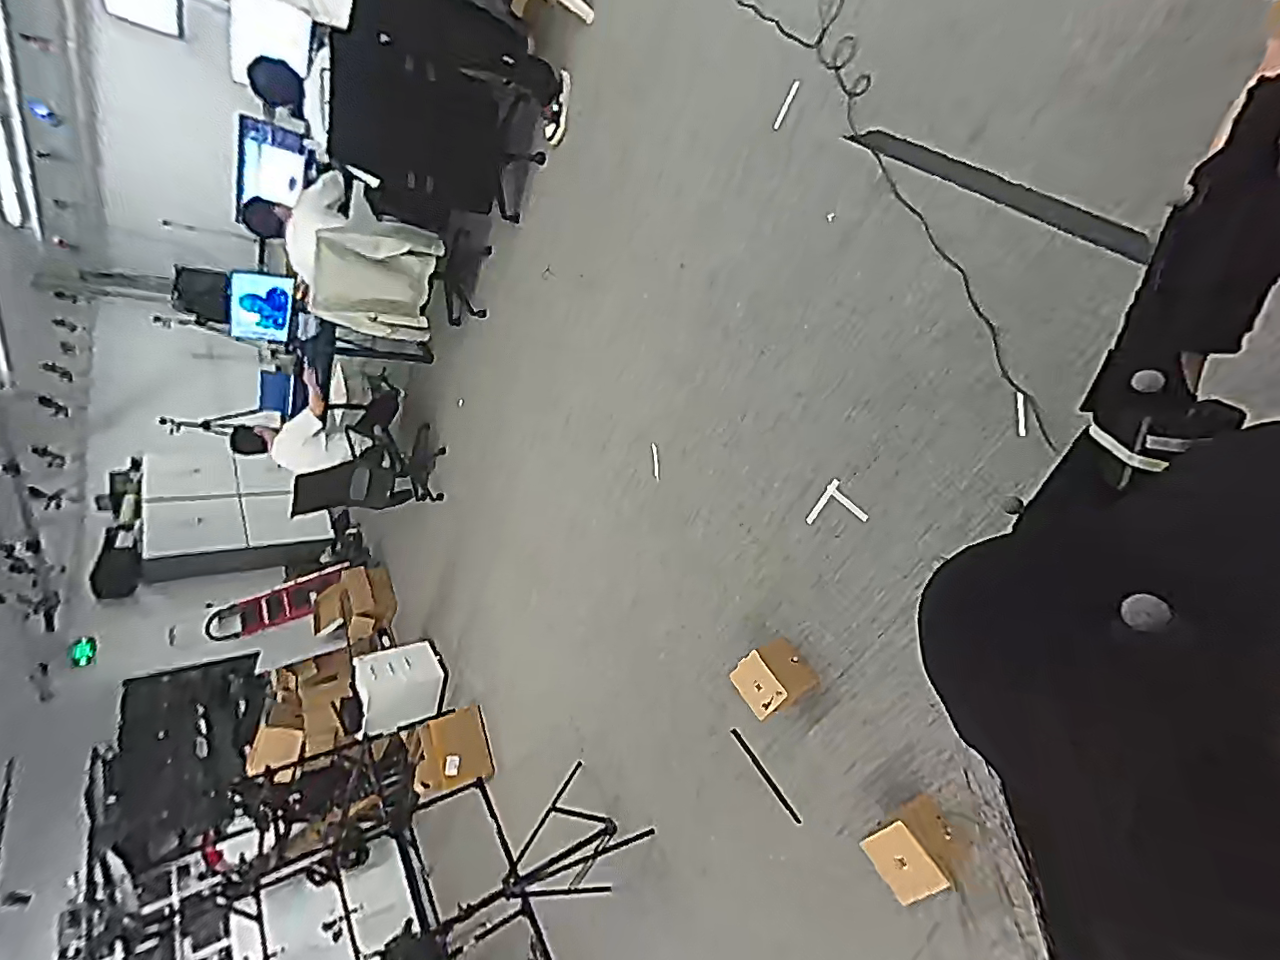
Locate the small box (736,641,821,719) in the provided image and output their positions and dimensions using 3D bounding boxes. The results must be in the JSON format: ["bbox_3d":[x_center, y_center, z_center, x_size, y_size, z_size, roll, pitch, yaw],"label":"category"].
[{"bbox_3d":[0.459,0.653,1.793,0.179,0.176,0.168,54,130,33],"label":"small box"}]

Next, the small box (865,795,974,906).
[{"bbox_3d":[0.762,1.000,1.468,0.168,0.176,0.179,52,129,31],"label":"small box"}]
